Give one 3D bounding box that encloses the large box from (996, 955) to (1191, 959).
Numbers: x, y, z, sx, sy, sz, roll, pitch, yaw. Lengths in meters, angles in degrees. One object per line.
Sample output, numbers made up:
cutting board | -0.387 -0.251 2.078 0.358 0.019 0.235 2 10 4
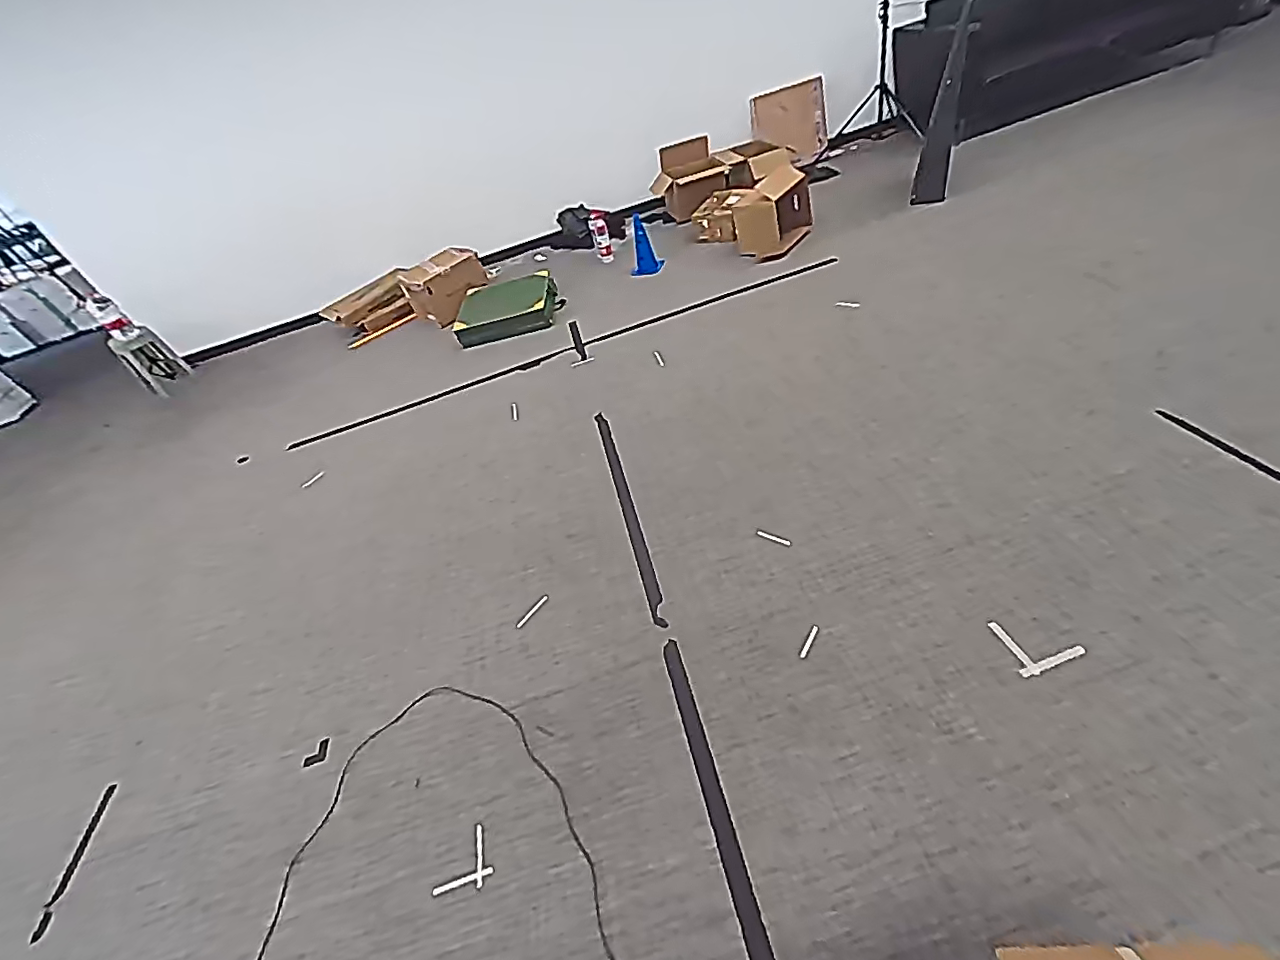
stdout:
large box | 0.600 0.743 0.486 0.320 0.408 0.320 -11 80 11
